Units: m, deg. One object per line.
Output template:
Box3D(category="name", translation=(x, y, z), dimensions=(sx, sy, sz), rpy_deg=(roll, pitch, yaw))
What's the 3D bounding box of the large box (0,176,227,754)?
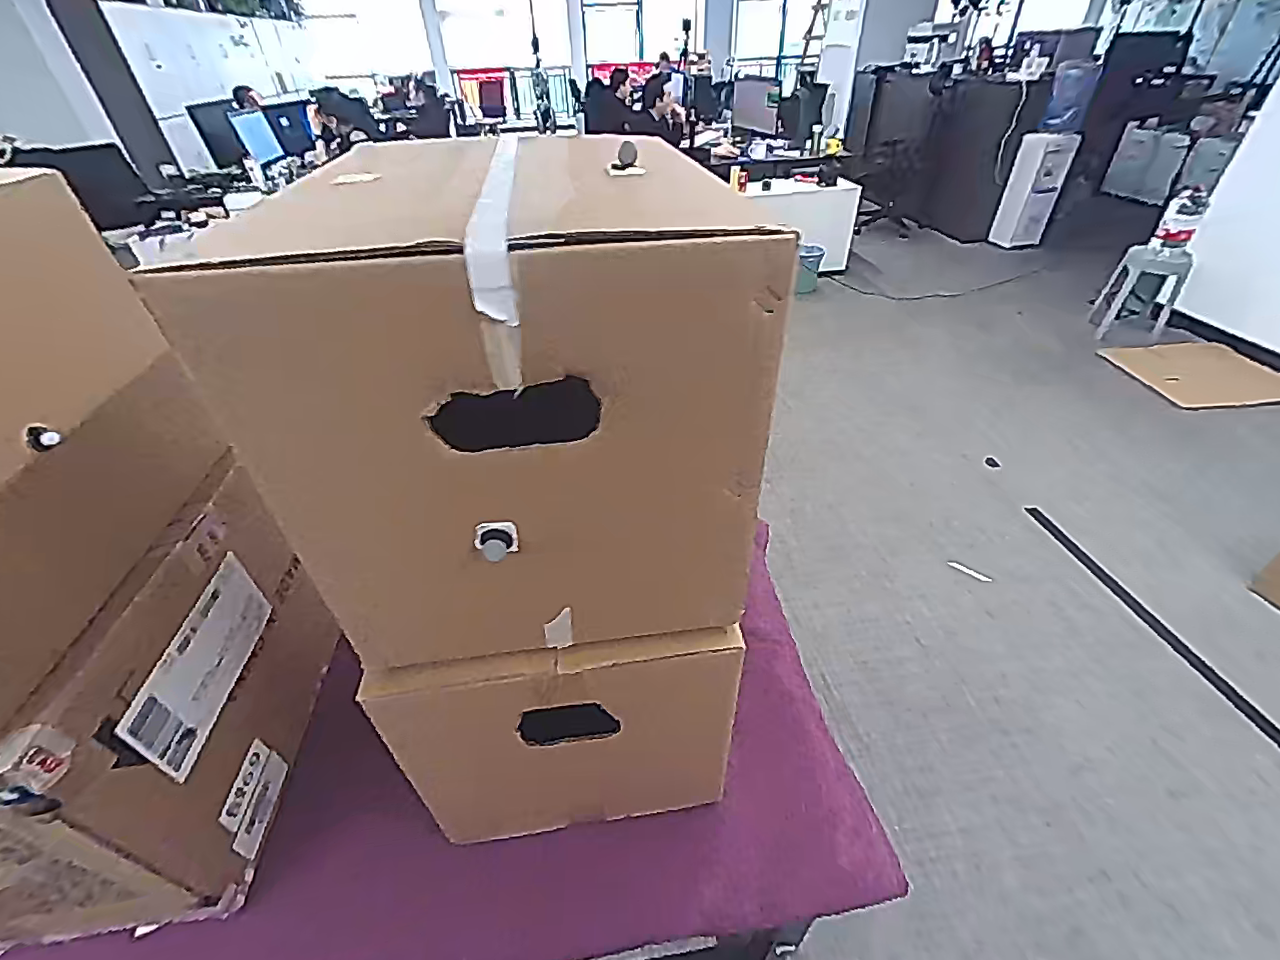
Box3D(category="large box", translation=(-0.633, -0.019, 0.422), dimensions=(0.320, 0.320, 0.408), rpy_deg=(-8, 39, -5))
